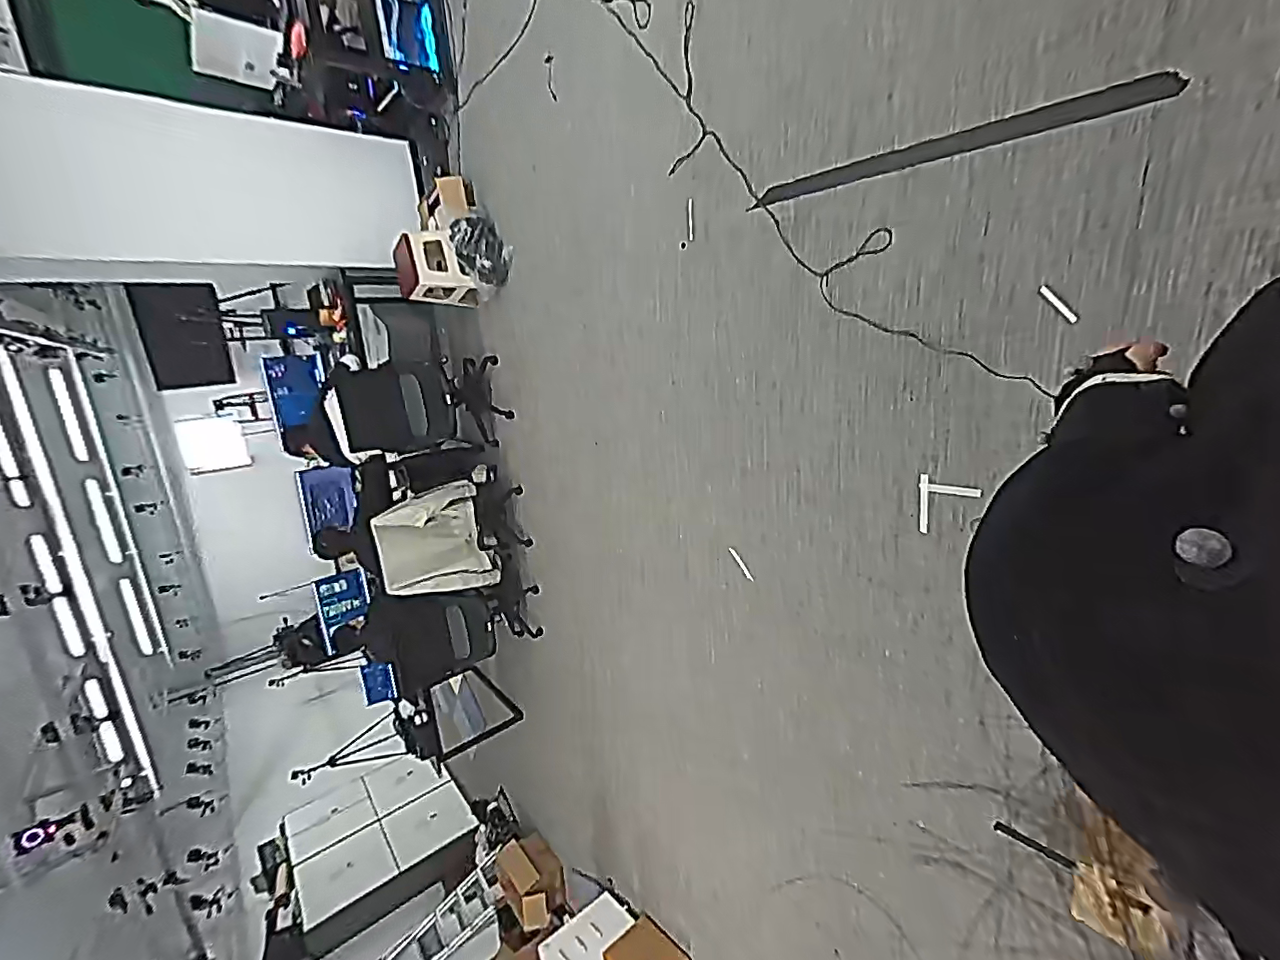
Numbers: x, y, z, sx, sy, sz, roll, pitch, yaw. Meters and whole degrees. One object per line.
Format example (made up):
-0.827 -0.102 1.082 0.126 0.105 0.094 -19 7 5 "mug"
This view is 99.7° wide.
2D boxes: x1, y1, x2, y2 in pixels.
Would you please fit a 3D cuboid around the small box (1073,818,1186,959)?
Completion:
1.159 0.956 1.281 0.168 0.176 0.179 11 111 51 "small box"
